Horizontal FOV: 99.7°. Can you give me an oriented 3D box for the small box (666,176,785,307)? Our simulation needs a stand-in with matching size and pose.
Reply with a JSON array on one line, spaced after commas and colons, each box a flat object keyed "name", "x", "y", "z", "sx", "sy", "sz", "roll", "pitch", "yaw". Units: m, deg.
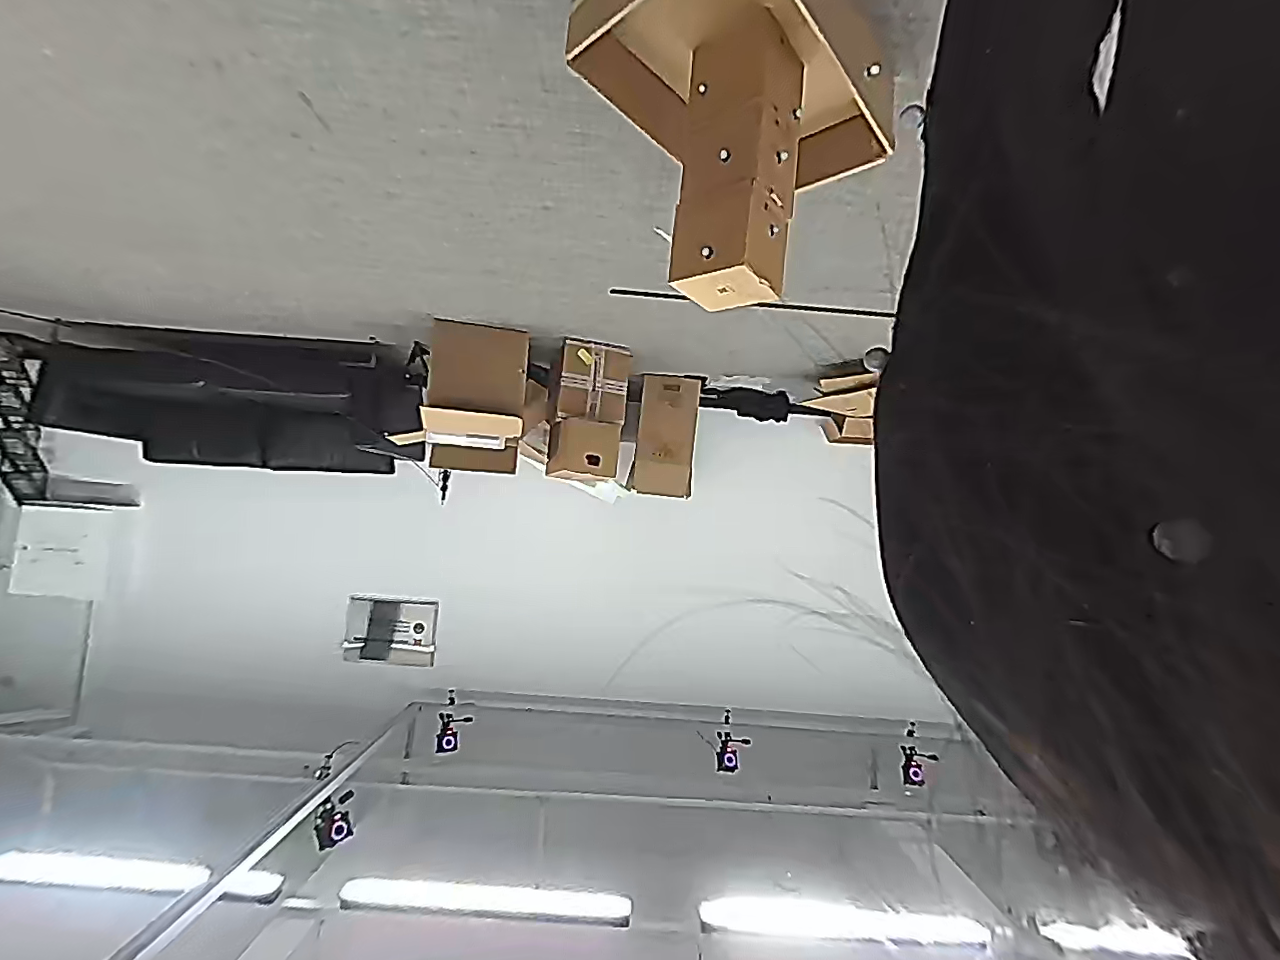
[{"name": "small box", "x": 0.176, "y": -0.470, "z": 1.088, "sx": 0.179, "sy": 0.176, "sz": 0.168, "roll": 2, "pitch": 175, "yaw": 39}]

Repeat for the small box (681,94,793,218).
[{"name": "small box", "x": 0.200, "y": -0.632, "z": 1.098, "sx": 0.179, "sy": 0.176, "sz": 0.168, "roll": 2, "pitch": 175, "yaw": 38}]
